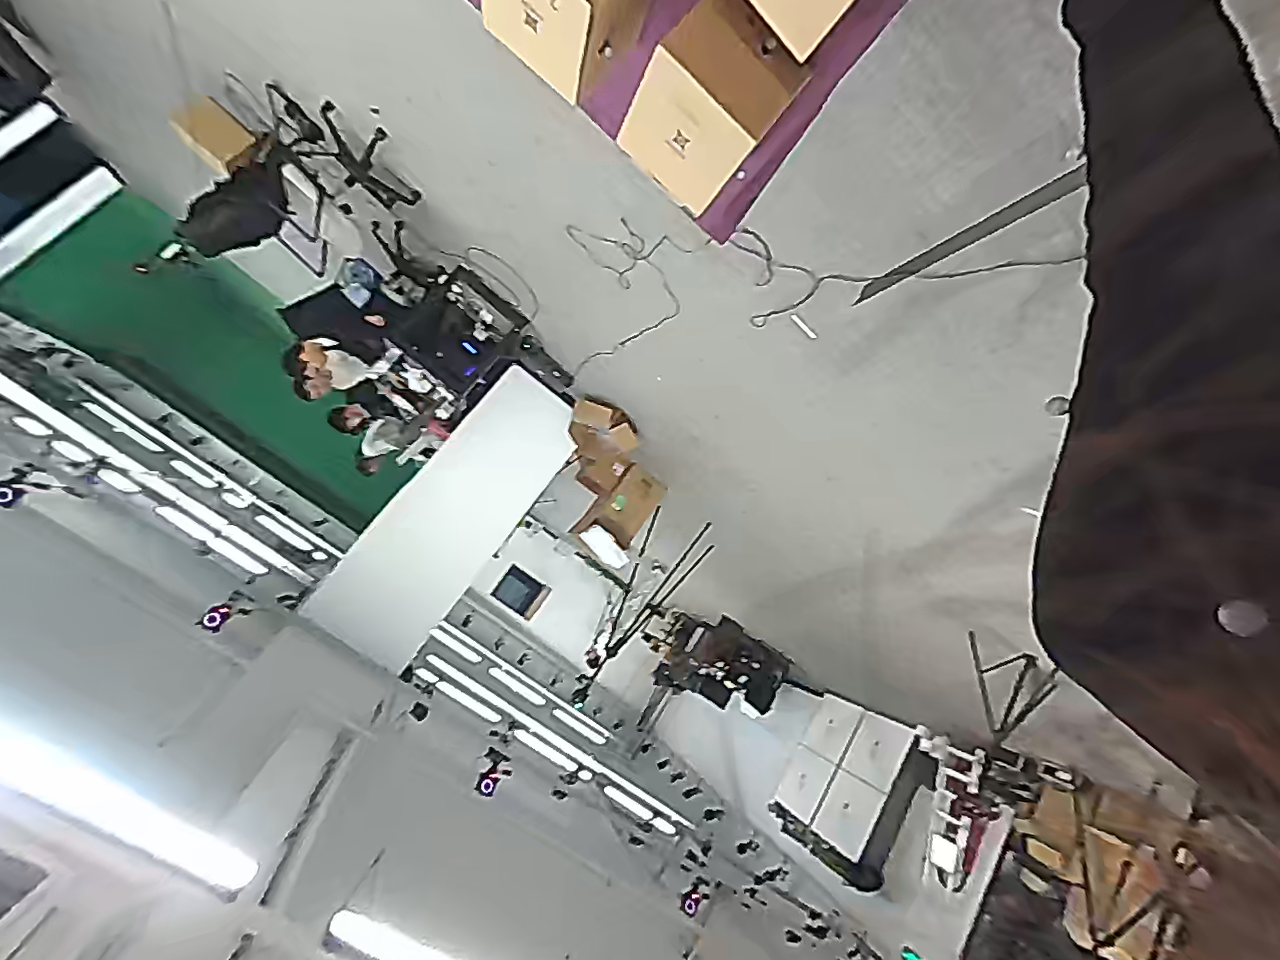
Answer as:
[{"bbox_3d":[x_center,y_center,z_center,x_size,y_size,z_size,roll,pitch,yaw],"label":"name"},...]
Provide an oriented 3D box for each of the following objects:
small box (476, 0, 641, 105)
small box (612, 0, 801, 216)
[{"bbox_3d":[-0.098,-0.671,0.722,0.168,0.176,0.179,37,163,-11],"label":"small box"},{"bbox_3d":[0.092,-0.526,0.762,0.168,0.176,0.179,38,163,-12],"label":"small box"}]
